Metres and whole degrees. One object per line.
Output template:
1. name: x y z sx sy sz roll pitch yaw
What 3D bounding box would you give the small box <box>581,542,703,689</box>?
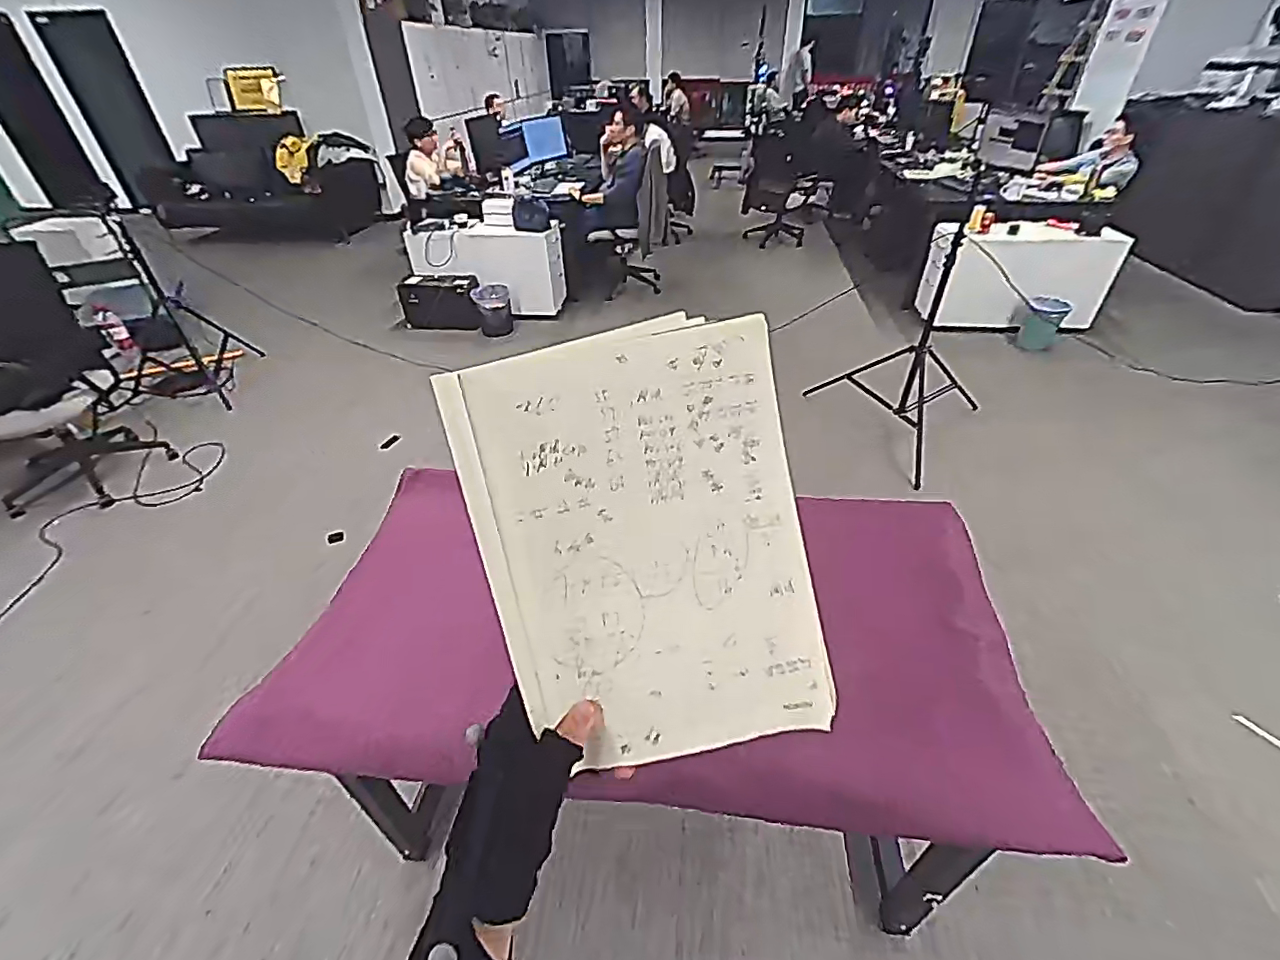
1. small box: 0.009 0.225 0.897 0.179 0.176 0.168 4 38 6
